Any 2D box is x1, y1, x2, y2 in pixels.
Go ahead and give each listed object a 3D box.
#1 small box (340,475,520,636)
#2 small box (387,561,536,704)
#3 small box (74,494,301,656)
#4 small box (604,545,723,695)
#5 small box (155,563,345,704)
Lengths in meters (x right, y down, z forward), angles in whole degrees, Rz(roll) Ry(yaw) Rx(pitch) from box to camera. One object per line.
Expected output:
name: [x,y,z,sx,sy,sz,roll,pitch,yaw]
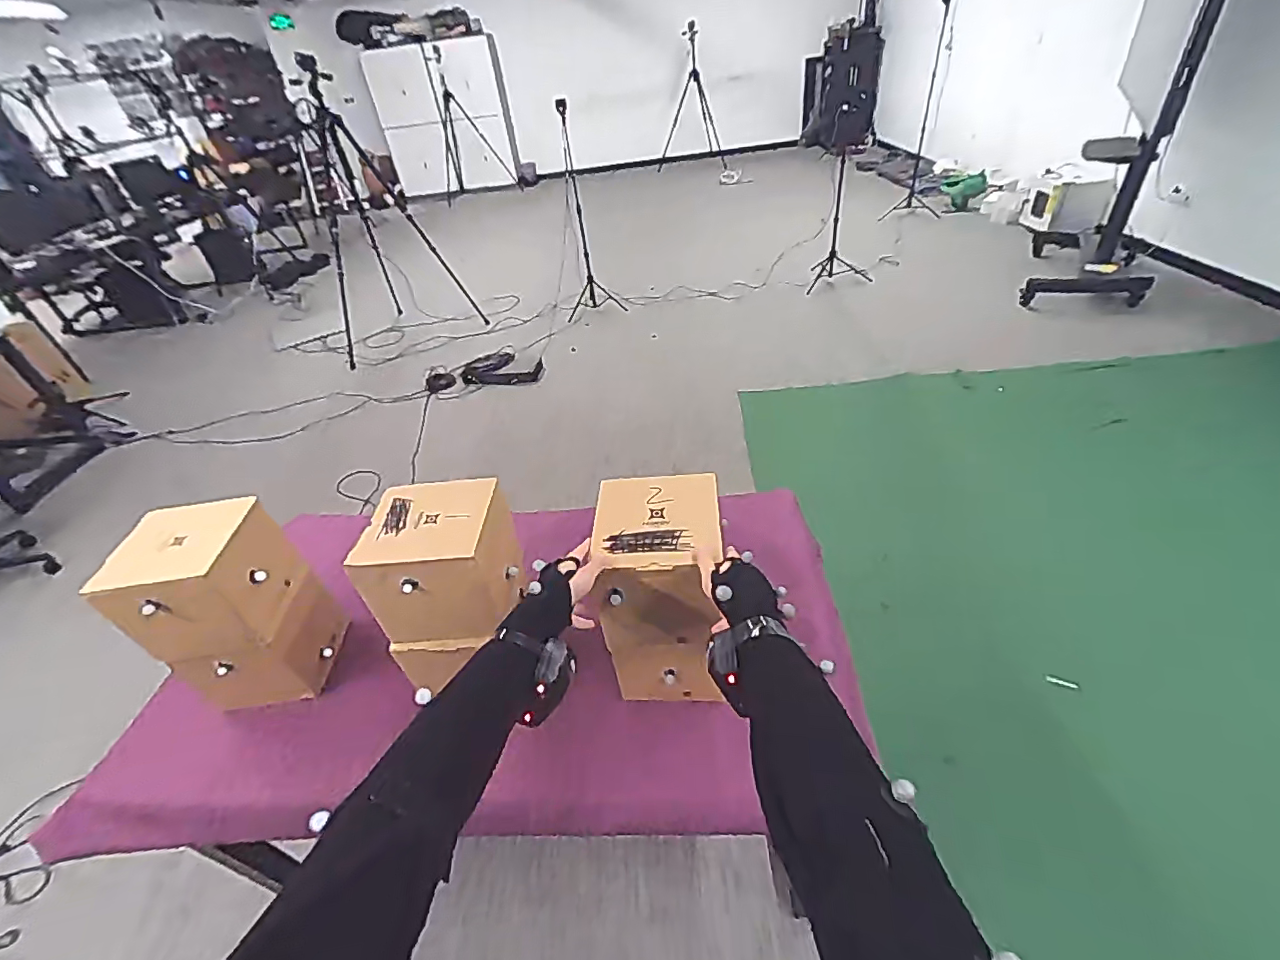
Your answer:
small box: [-0.294,0.114,0.800,0.179,0.176,0.168,-5,39,3]
small box: [-0.280,0.246,0.896,0.168,0.176,0.179,-4,39,6]
small box: [-0.667,0.146,0.830,0.179,0.176,0.168,-9,40,0]
small box: [0.045,0.226,0.865,0.168,0.176,0.179,-2,39,7]
small box: [-0.655,0.268,0.935,0.179,0.176,0.168,-7,40,1]
